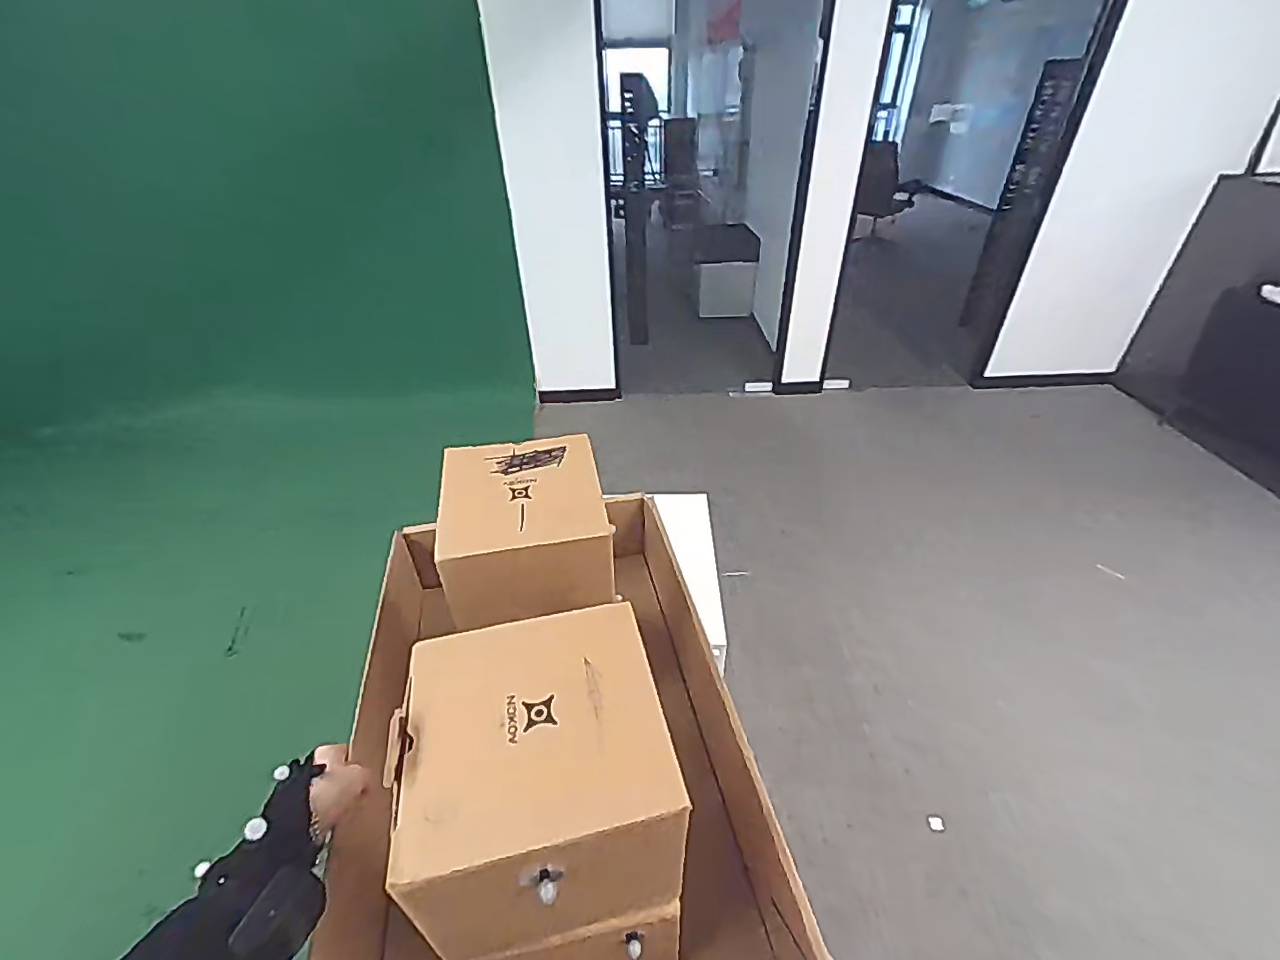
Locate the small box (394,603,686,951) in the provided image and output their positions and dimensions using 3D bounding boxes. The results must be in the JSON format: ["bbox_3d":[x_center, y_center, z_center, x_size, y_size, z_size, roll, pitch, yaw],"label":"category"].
[{"bbox_3d":[-0.071,0.227,0.425,0.179,0.176,0.168,-8,37,-11],"label":"small box"}]

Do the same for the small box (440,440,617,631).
[{"bbox_3d":[-0.121,0.076,0.621,0.168,0.176,0.179,-7,40,-9],"label":"small box"}]
